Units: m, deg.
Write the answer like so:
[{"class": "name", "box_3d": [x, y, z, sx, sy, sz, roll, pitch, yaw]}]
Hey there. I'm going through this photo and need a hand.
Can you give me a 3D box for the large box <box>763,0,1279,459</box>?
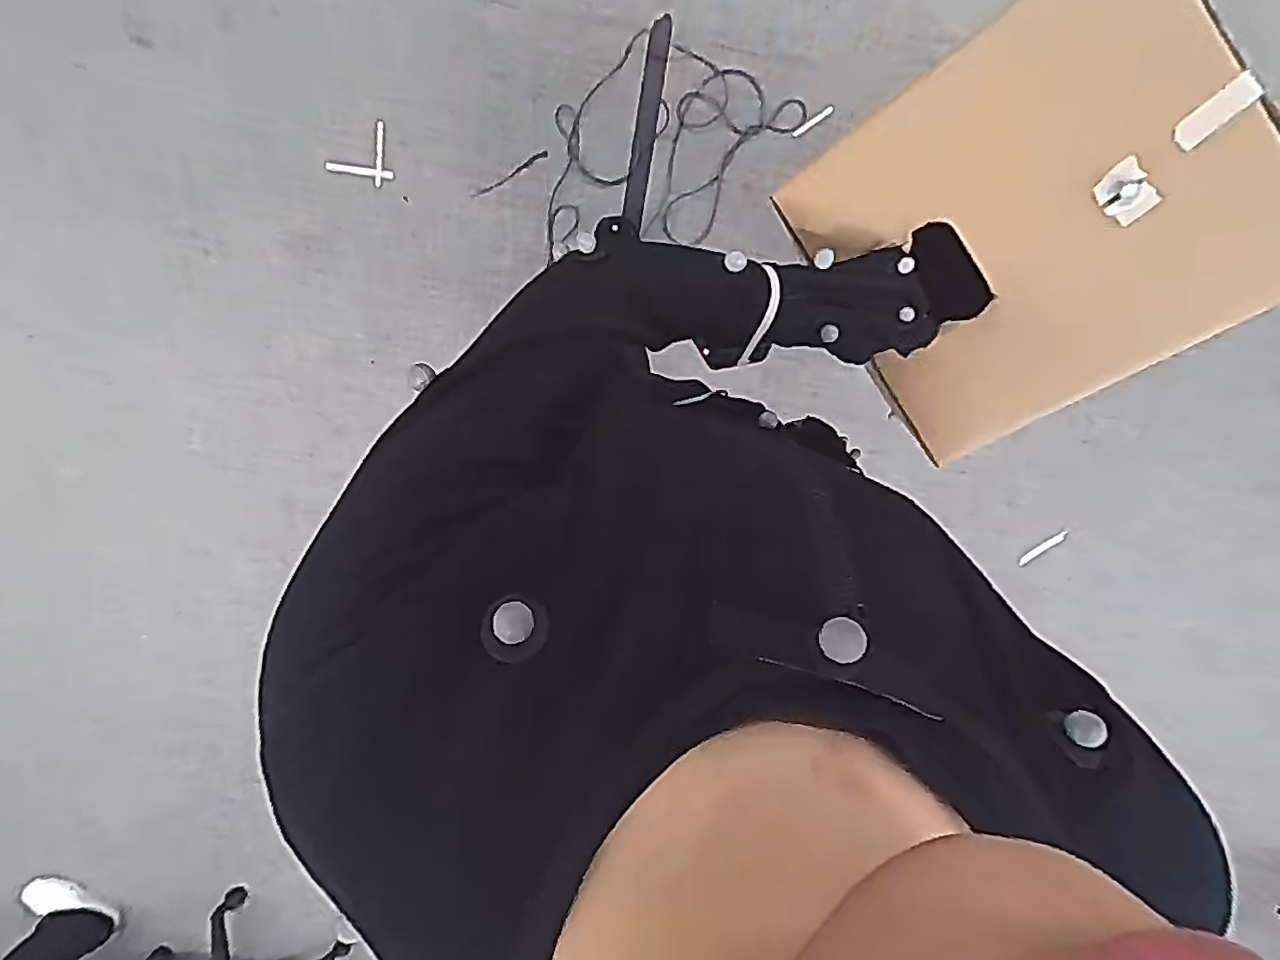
[{"class": "large box", "box_3d": [0.387, -0.257, 0.645, 0.320, 0.408, 0.320, -29, 90, 25]}]
